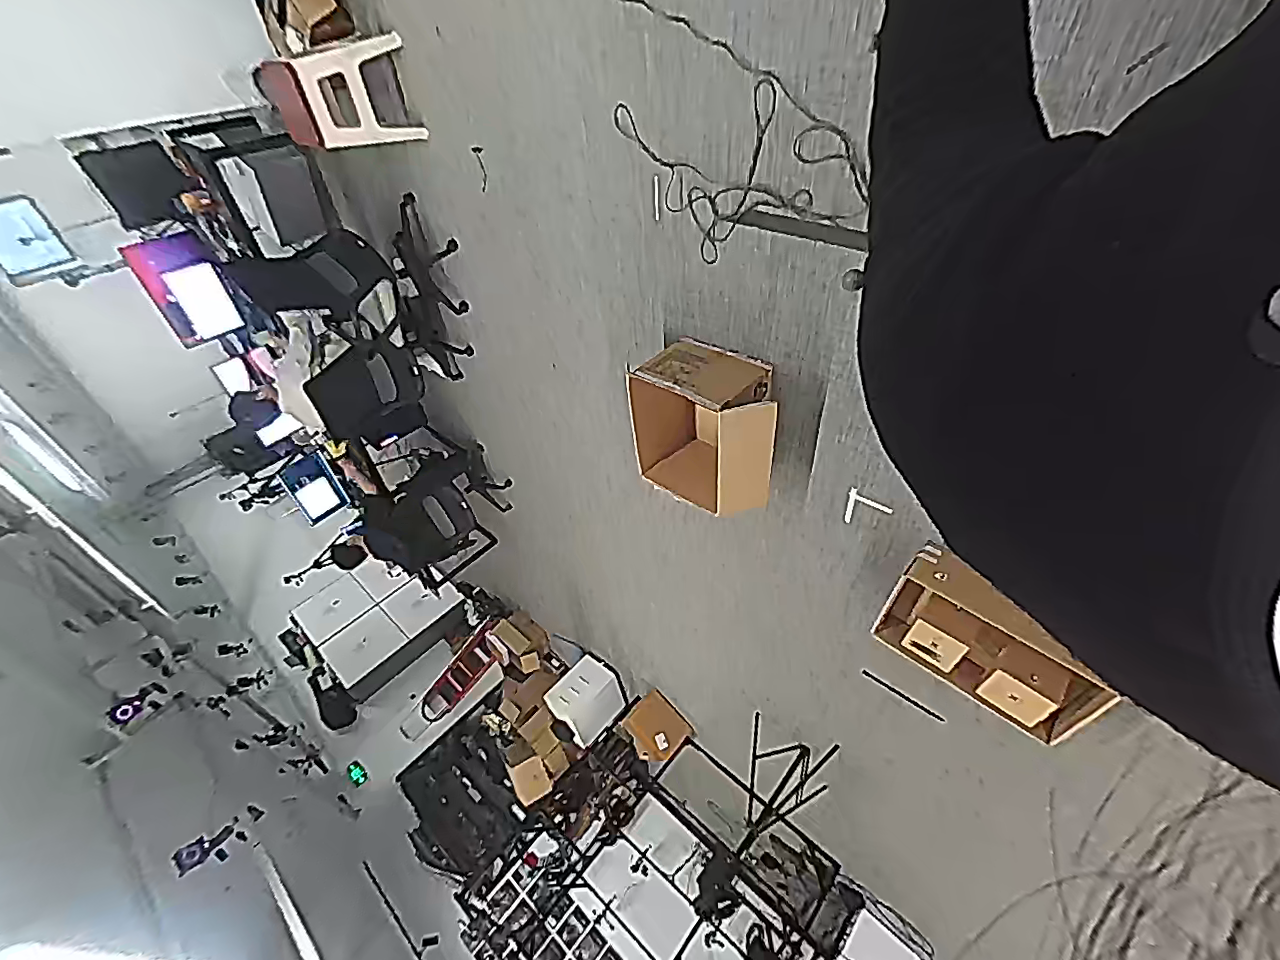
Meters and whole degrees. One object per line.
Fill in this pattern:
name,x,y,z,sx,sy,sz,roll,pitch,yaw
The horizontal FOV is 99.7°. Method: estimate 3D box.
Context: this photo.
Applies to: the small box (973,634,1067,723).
small box,1.223,0.632,1.736,0.179,0.176,0.168,34,143,28
